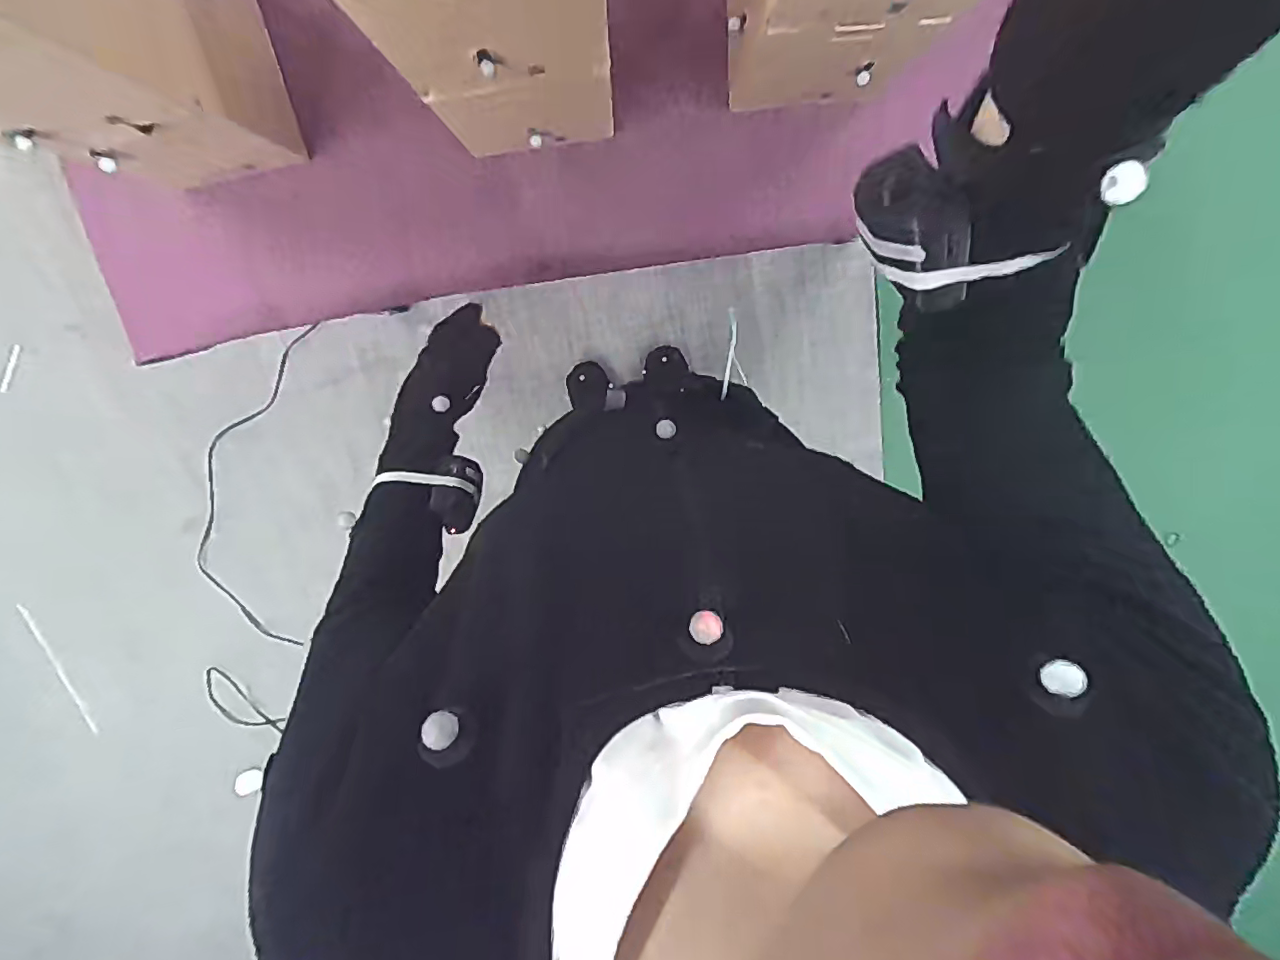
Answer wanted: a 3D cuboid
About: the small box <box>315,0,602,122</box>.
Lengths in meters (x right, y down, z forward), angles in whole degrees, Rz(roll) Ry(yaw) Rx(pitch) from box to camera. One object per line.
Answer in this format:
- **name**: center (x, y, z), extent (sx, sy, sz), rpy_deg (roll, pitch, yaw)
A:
- **small box**: center (-0.121, -0.382, 0.368), extent (0.168, 0.176, 0.179), rpy_deg (-9, 107, 1)
